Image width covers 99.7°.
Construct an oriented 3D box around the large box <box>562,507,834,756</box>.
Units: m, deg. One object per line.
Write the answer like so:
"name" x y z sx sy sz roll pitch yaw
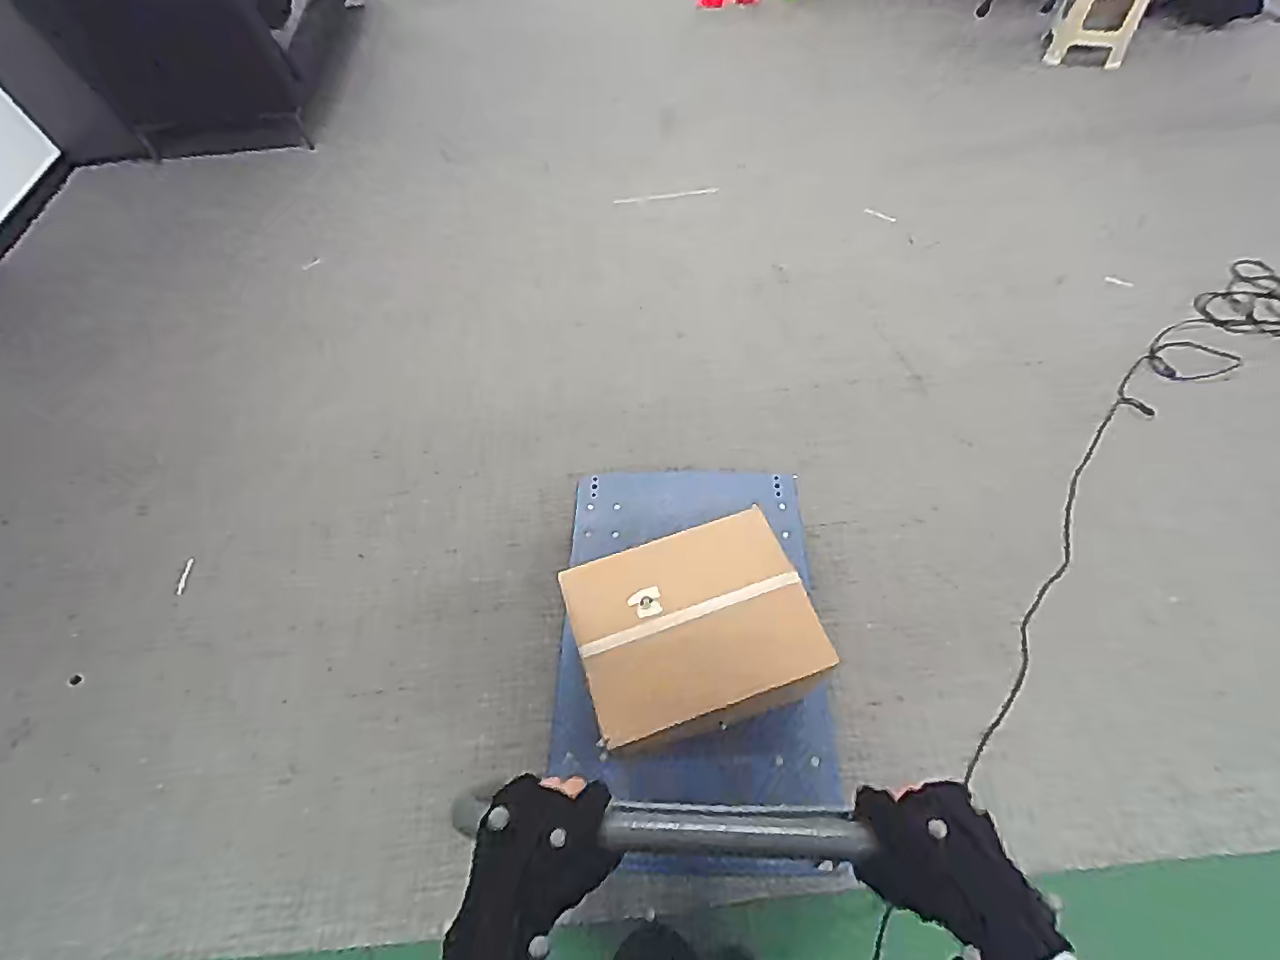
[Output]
"large box" 0.099 0.308 1.071 0.408 0.320 0.320 -18 59 -6
